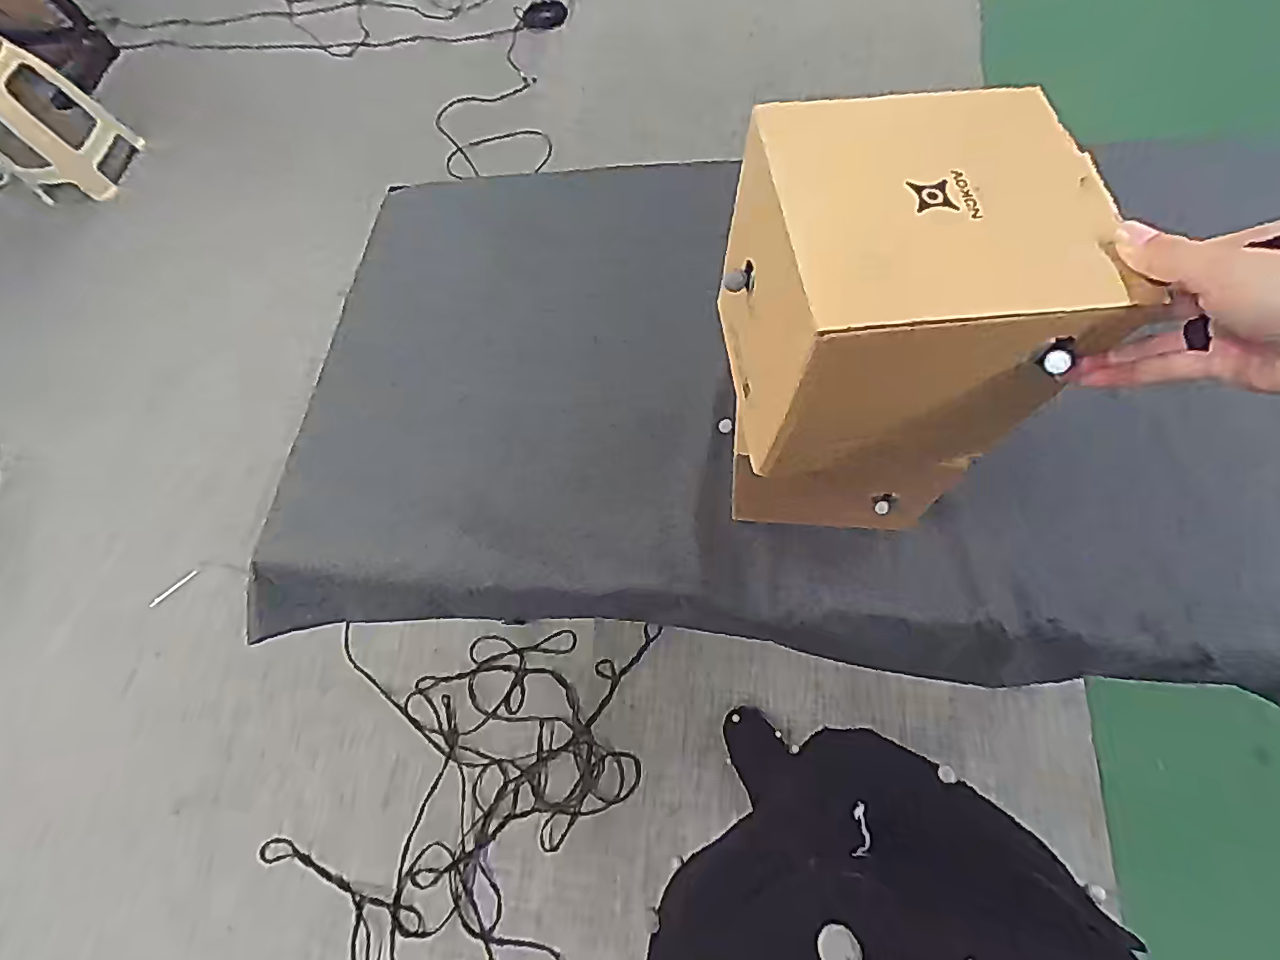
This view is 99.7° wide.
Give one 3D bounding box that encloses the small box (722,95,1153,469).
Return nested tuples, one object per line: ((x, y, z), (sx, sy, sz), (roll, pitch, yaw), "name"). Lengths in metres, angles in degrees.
((0.156, -0.117, 0.363), (0.179, 0.176, 0.168), (-5, 66, -3), "small box")

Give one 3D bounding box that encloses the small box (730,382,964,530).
((0.179, -0.056, 0.523), (0.179, 0.176, 0.168), (2, 67, 11), "small box")
